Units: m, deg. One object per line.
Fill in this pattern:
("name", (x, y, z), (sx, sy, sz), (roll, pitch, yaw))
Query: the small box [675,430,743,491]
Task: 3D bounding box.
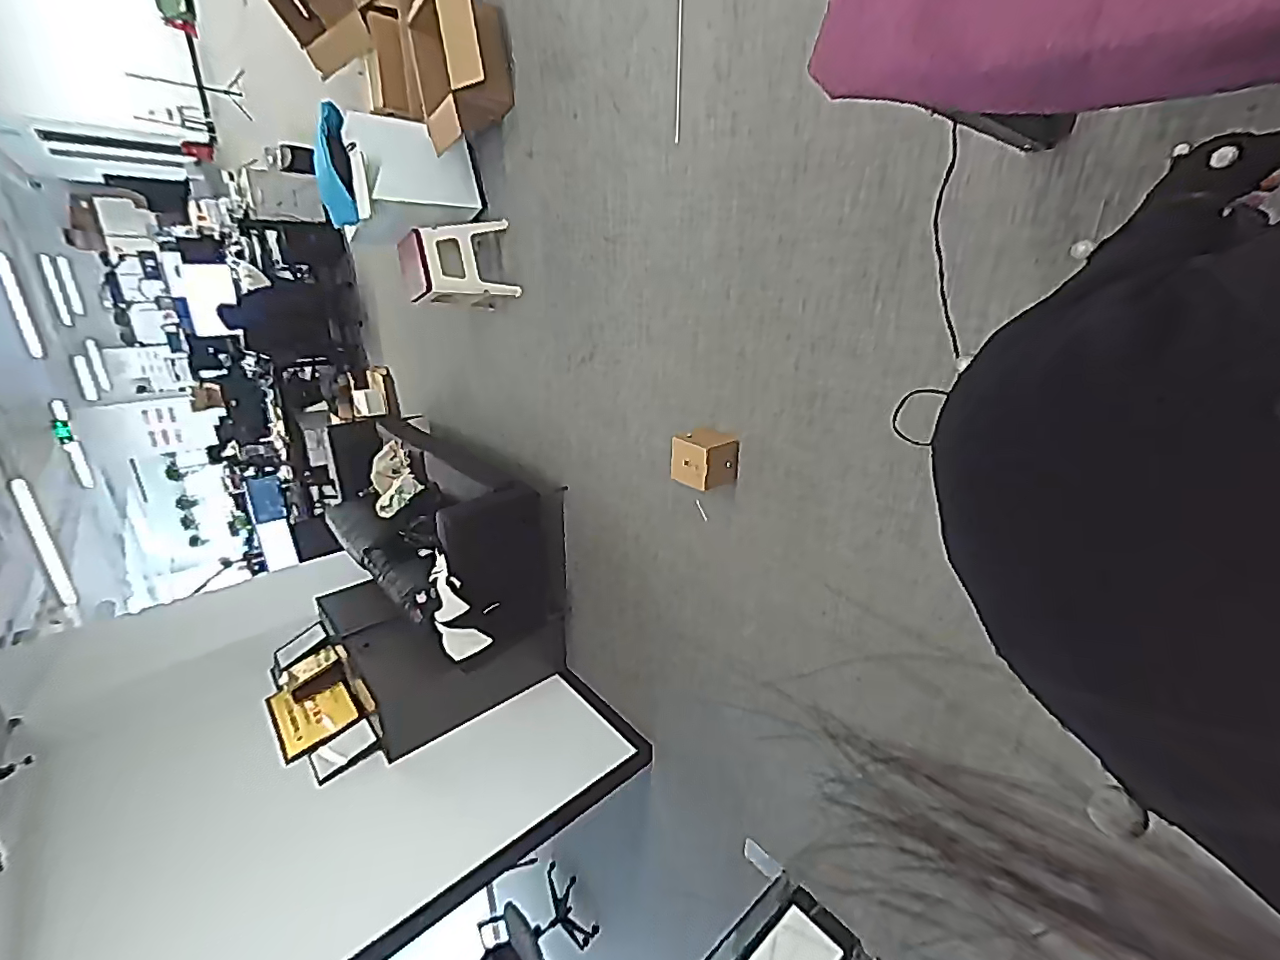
("small box", (0.252, -0.079, 1.991), (0.179, 0.176, 0.168), (24, 122, 44))
